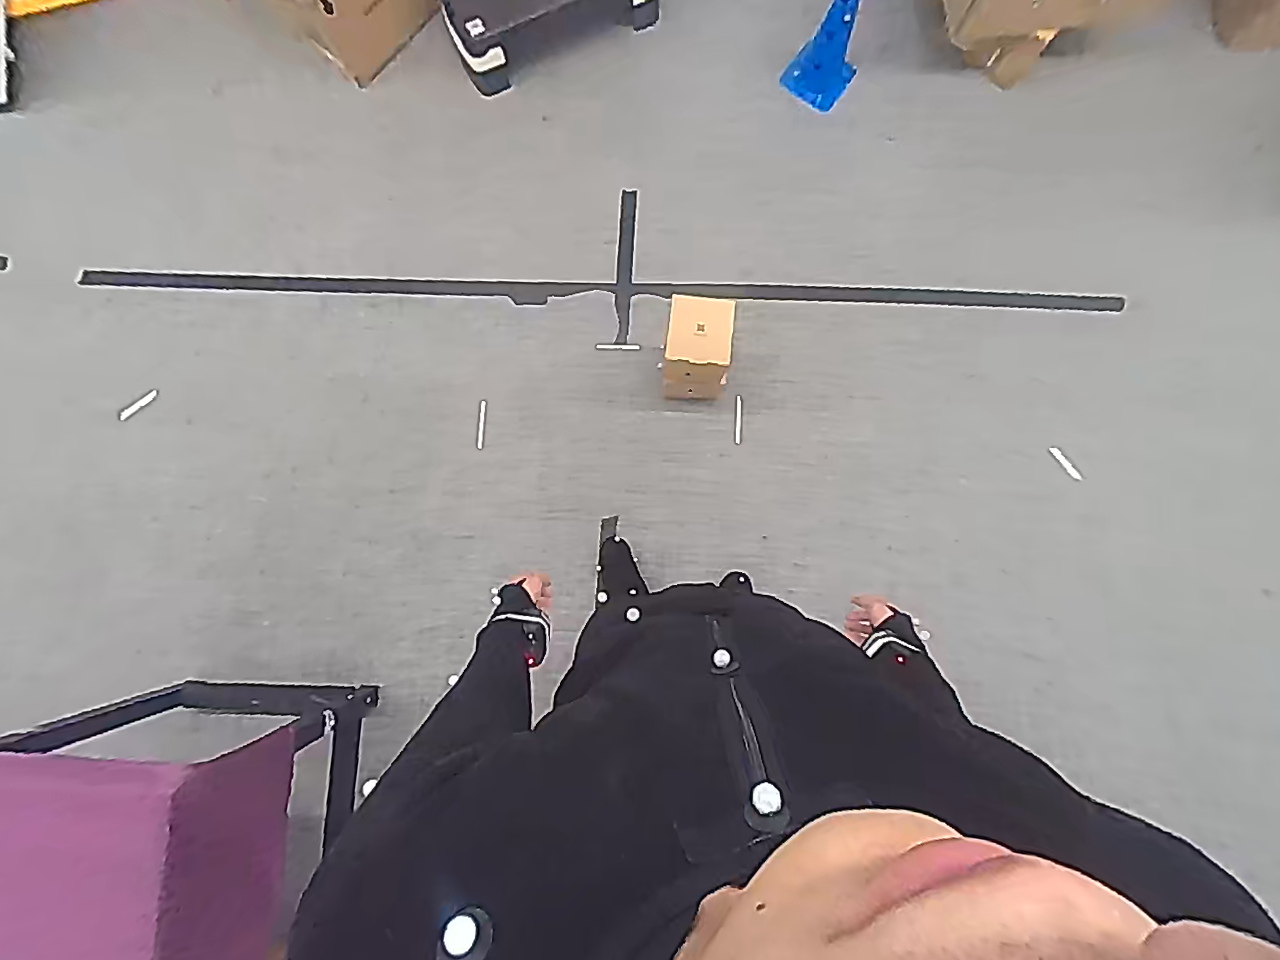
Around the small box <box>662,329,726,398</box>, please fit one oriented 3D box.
[{"bbox_3d":[0.160,-0.347,1.626,0.179,0.176,0.168,1,84,1],"label":"small box"}]

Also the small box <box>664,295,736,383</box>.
[{"bbox_3d":[0.156,-0.377,1.466,0.168,0.176,0.179,6,85,1],"label":"small box"}]
